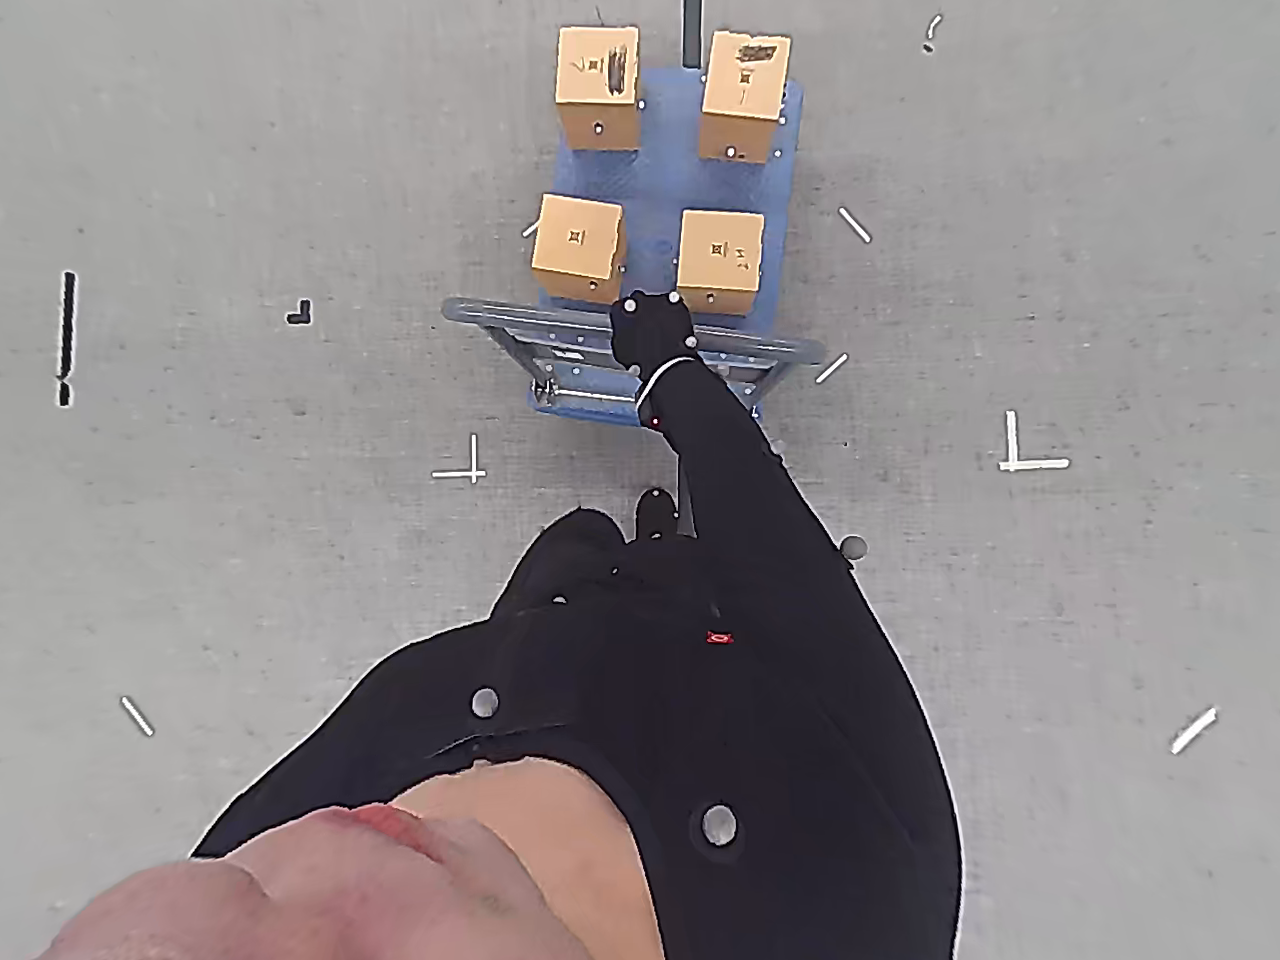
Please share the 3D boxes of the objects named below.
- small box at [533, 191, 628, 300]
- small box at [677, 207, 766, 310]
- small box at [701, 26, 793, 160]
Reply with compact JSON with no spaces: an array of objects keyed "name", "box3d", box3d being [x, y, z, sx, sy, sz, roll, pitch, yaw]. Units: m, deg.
[{"name":"small box","box3d":[-0.130,-0.530,1.242,0.179,0.176,0.168,10,90,1]},{"name":"small box","box3d":[0.177,-0.494,1.226,0.179,0.176,0.168,5,91,3]},{"name":"small box","box3d":[0.232,-0.864,1.220,0.168,0.176,0.179,9,92,3]}]
